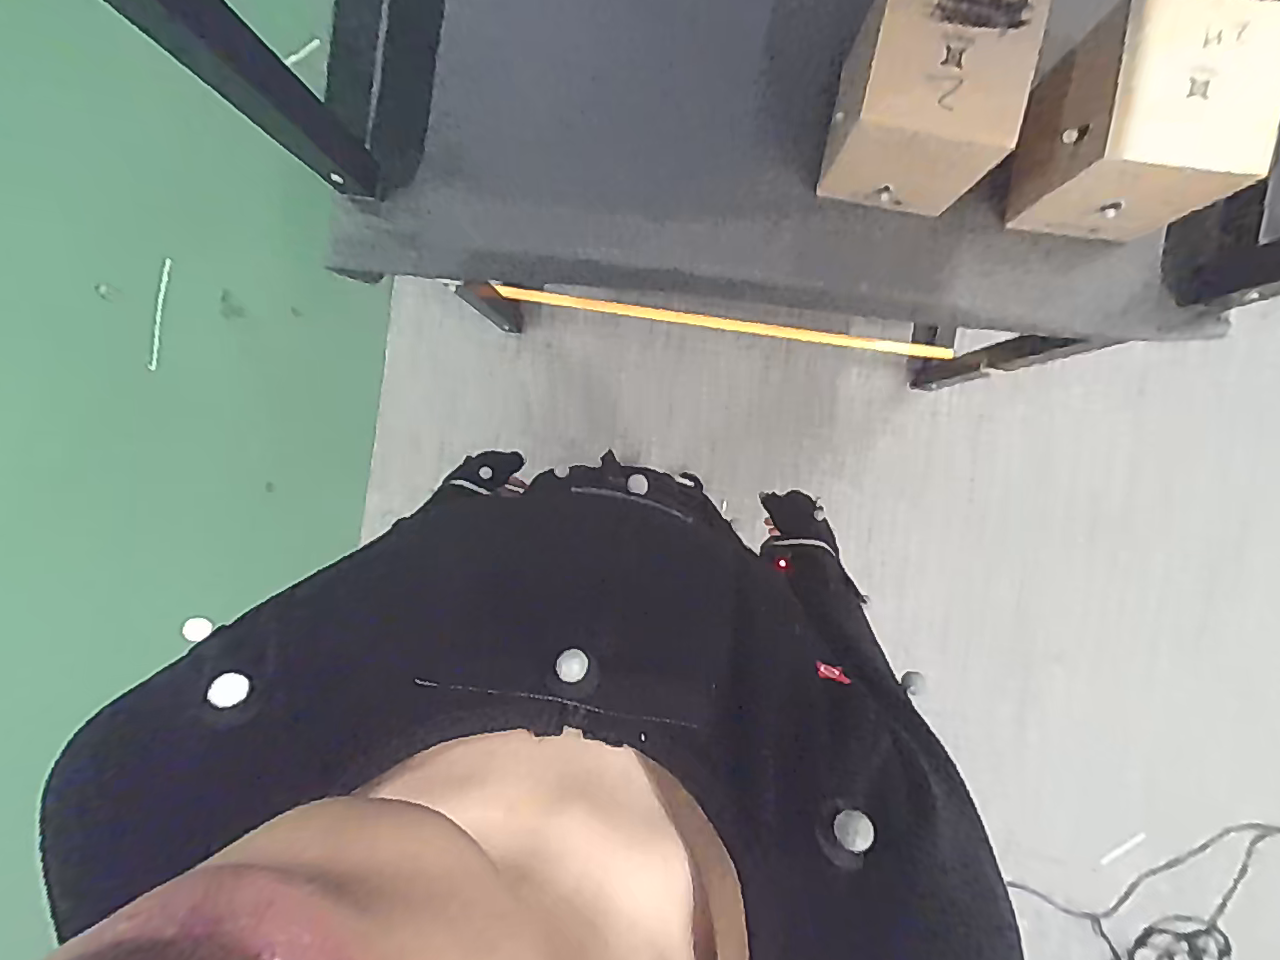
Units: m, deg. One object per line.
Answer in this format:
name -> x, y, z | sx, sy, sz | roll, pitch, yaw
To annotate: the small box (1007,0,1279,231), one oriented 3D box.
small box -> 0.569, -0.416, 0.632 | 0.168, 0.176, 0.179 | 8, 92, 2
